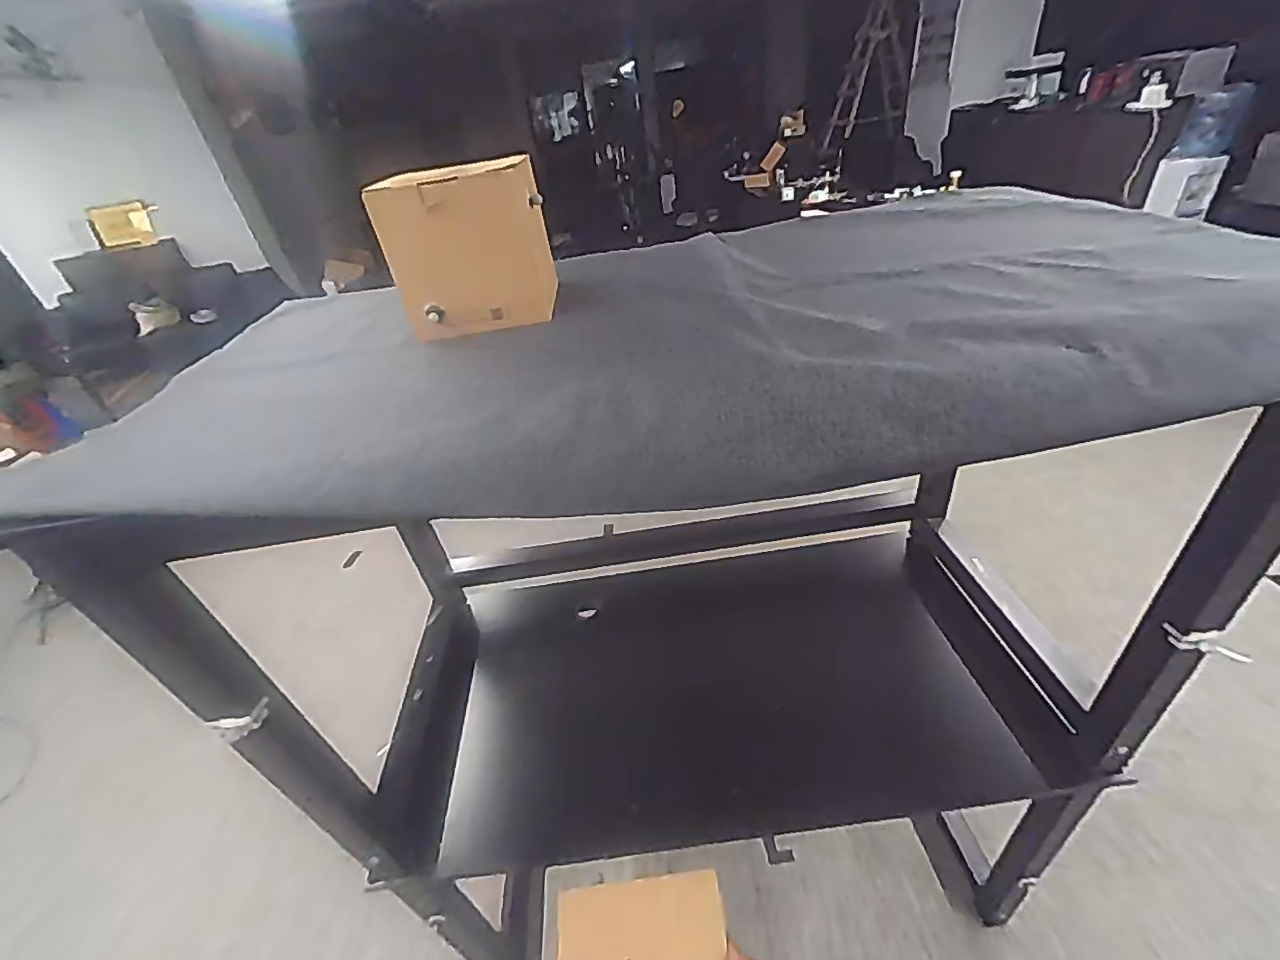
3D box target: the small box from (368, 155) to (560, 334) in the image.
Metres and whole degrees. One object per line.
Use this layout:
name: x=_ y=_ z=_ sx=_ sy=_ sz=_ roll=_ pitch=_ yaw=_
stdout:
small box: x=-0.201 y=-0.292 z=0.678 sx=0.168 sy=0.176 sz=0.179 roll=-9 pitch=34 yaw=1

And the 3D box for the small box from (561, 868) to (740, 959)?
small box: x=0.021 y=0.532 z=0.574 sx=0.179 sy=0.176 sz=0.168 roll=-11 pitch=45 yaw=3
